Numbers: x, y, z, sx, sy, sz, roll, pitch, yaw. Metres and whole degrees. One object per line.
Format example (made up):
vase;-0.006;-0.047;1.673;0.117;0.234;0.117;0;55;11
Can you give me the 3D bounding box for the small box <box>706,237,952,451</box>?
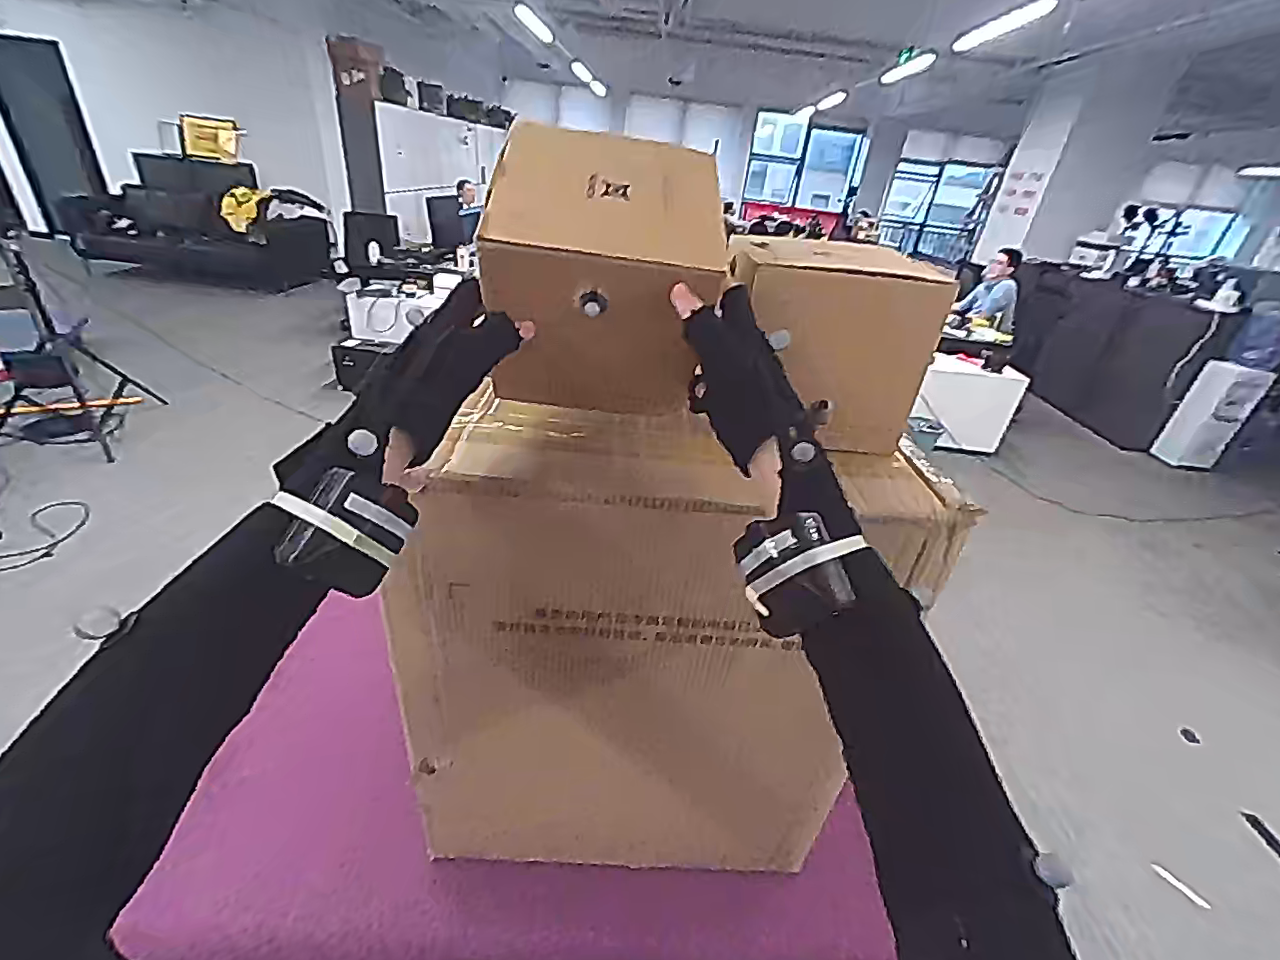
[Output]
small box;0.174;-0.143;0.564;0.179;0.176;0.168;5;30;-2
